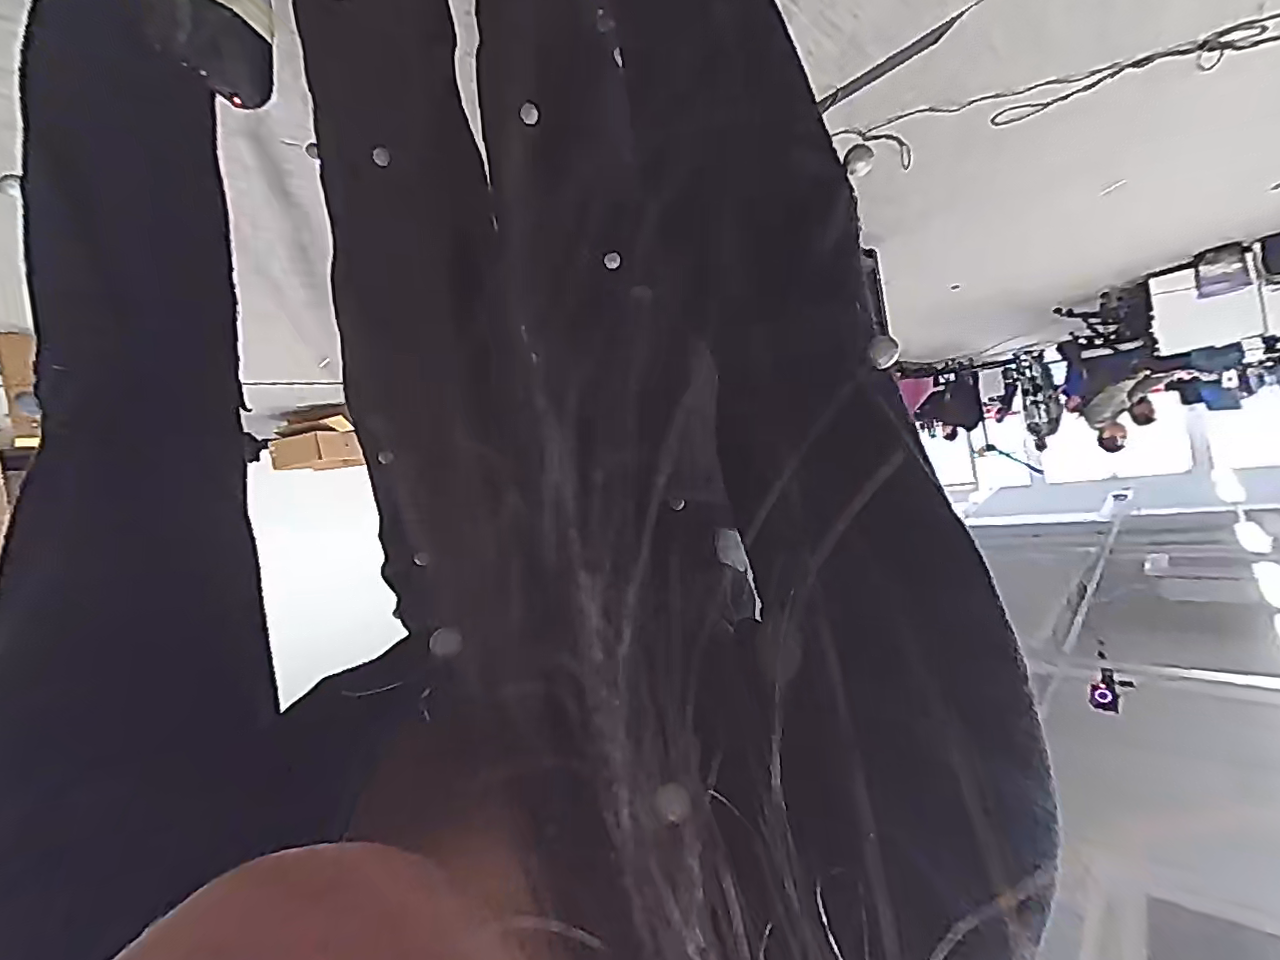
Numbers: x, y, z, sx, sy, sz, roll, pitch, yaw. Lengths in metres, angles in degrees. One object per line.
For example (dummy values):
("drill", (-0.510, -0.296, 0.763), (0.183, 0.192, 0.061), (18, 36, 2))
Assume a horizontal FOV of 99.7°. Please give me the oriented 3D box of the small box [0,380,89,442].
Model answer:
("small box", (-1.941, -0.227, 1.760), (0.168, 0.176, 0.179), (-7, -177, 40))
